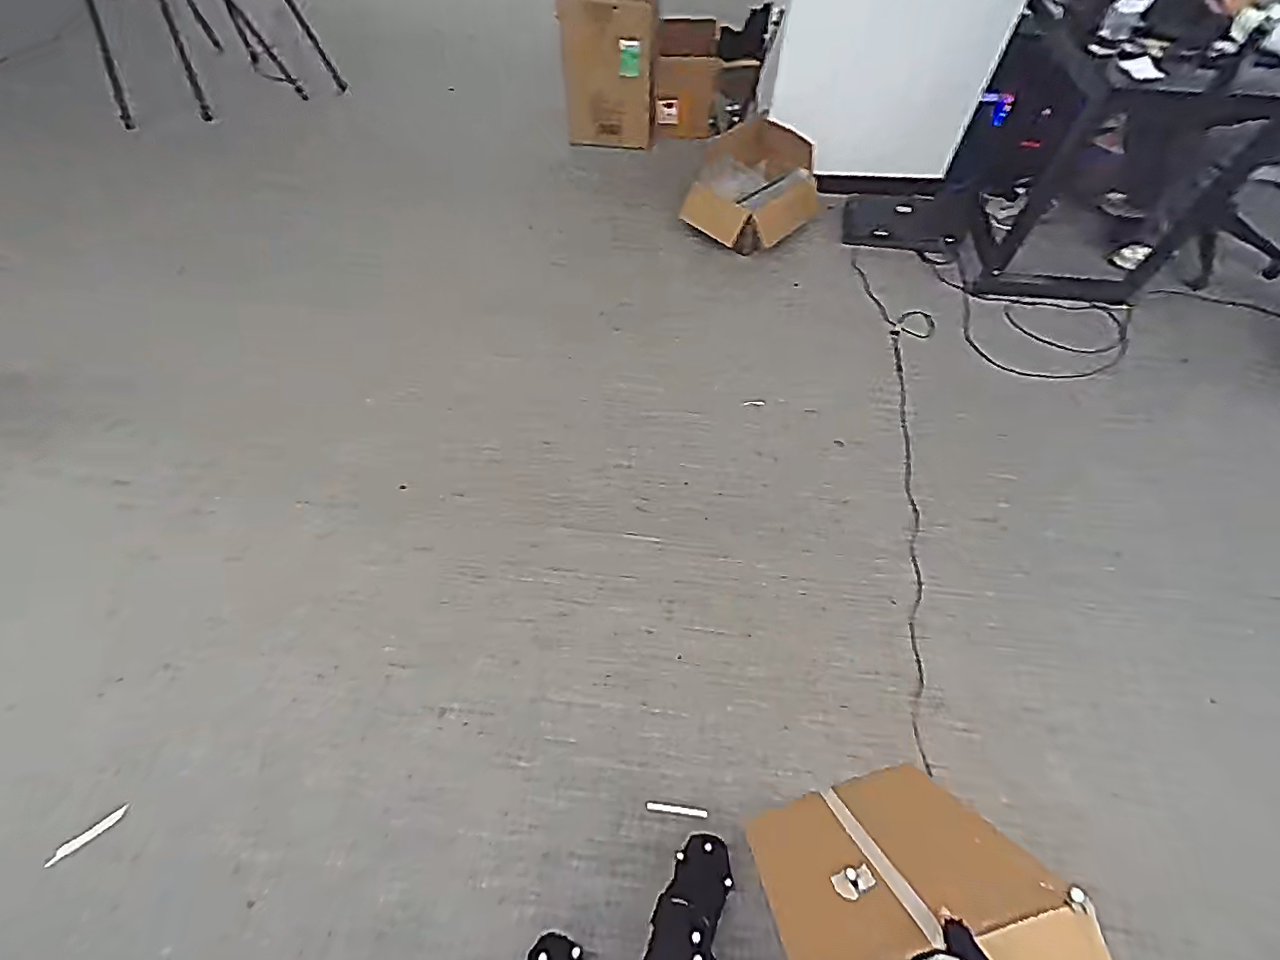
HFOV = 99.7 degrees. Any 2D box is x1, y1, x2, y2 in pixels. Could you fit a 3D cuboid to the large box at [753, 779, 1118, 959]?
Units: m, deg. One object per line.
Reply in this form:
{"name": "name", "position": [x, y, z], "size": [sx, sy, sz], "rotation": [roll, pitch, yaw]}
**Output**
{"name": "large box", "position": [0.376, 0.670, 0.718], "size": [0.320, 0.408, 0.320], "rotation": [-17, 81, -1]}
